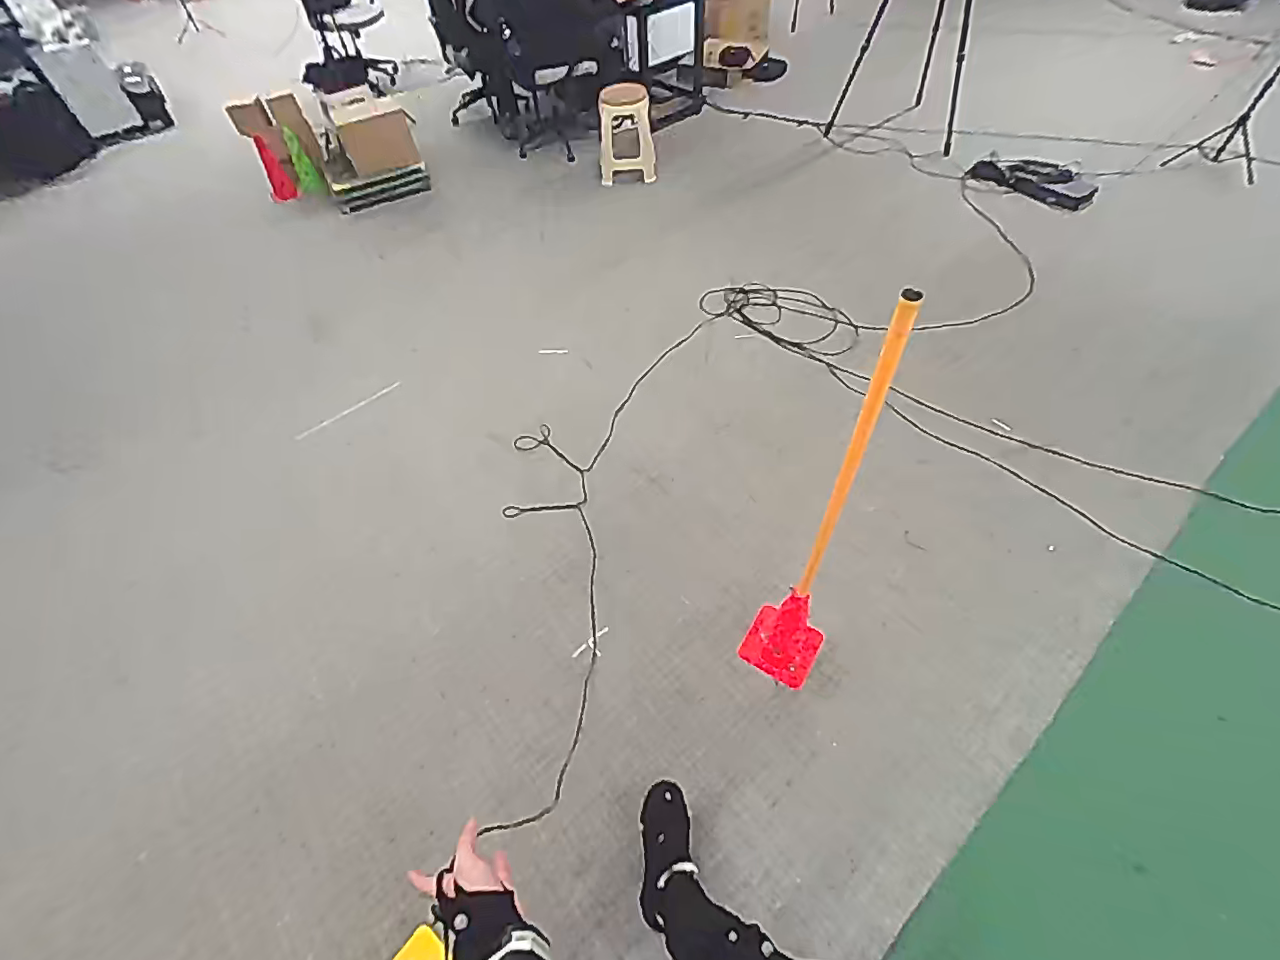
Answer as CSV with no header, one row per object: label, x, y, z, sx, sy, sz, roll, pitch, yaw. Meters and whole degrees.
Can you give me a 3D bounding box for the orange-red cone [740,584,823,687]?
orange-red cone,0.409,0.377,1.459,0.198,0.360,0.199,28,58,22
